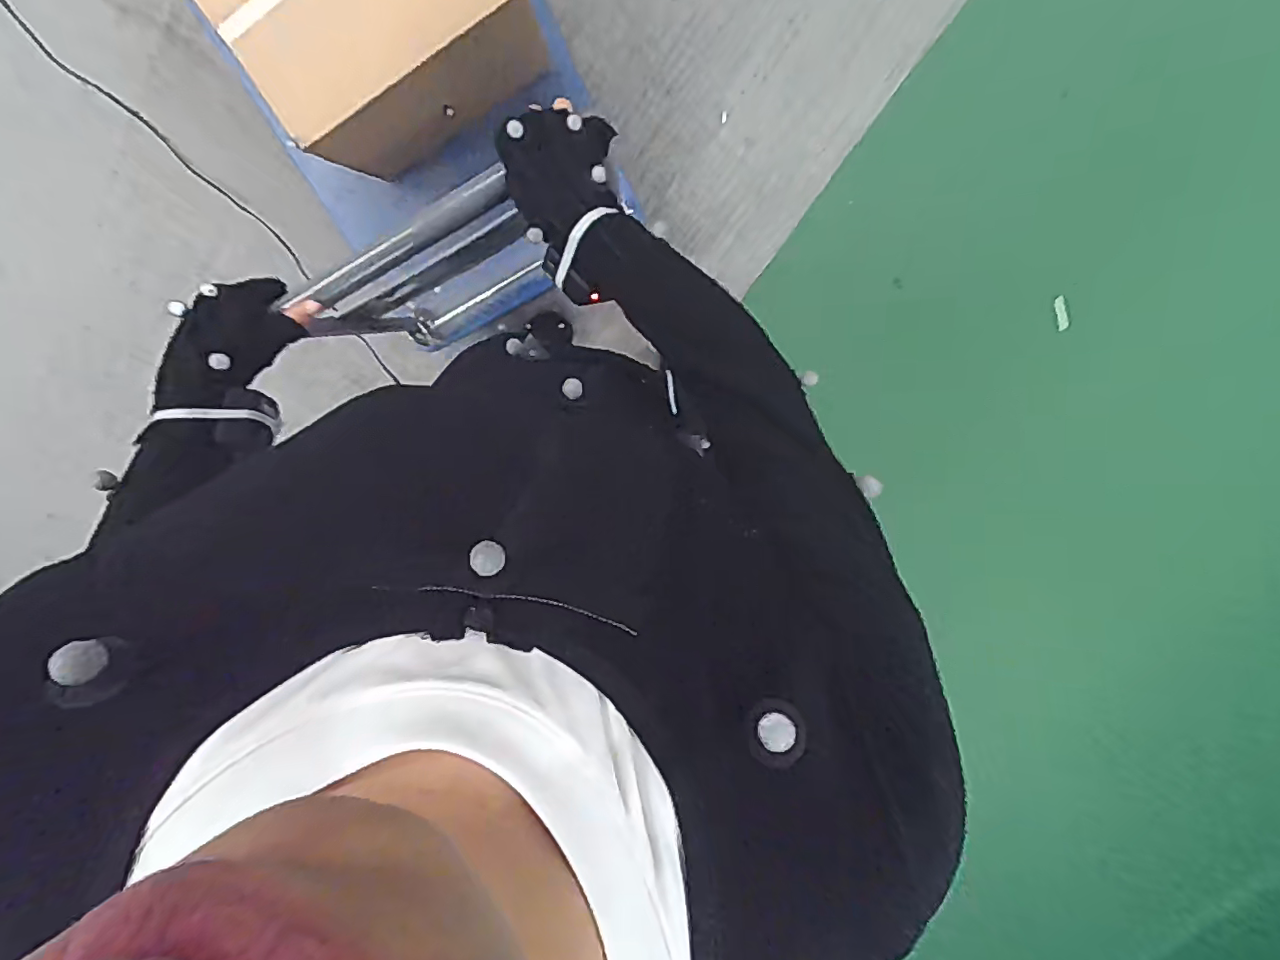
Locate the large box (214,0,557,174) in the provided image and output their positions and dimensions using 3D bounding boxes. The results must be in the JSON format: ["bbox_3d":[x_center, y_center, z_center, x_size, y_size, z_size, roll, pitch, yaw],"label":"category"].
[{"bbox_3d":[-0.400,-0.777,0.881,0.408,0.320,0.320,-28,108,11],"label":"large box"}]
